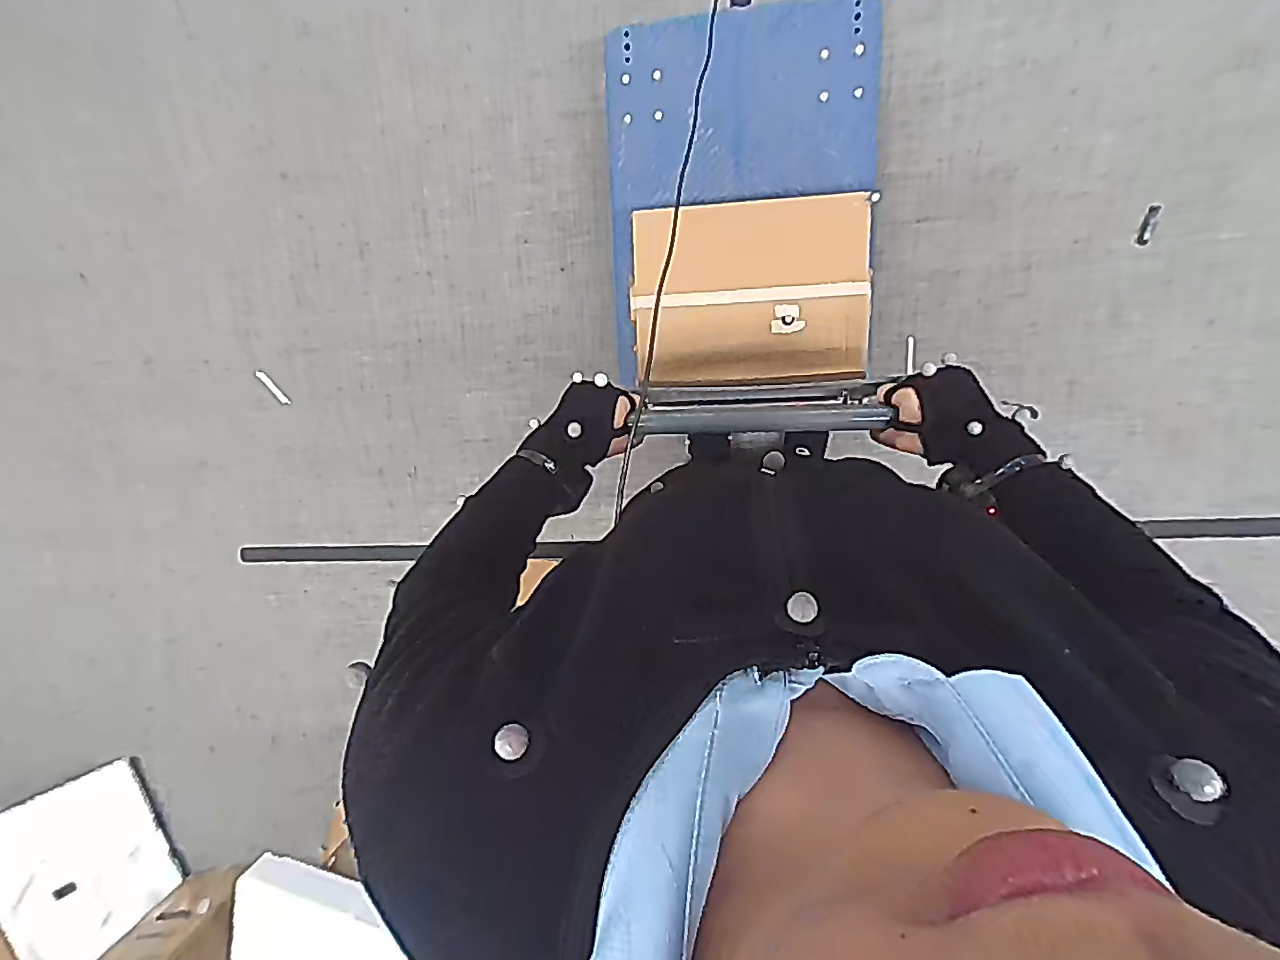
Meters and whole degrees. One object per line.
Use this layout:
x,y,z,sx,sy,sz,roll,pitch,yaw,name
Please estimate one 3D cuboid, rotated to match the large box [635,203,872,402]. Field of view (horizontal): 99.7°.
0.212,-0.323,1.086,0.408,0.320,0.320,-1,99,7,large box
